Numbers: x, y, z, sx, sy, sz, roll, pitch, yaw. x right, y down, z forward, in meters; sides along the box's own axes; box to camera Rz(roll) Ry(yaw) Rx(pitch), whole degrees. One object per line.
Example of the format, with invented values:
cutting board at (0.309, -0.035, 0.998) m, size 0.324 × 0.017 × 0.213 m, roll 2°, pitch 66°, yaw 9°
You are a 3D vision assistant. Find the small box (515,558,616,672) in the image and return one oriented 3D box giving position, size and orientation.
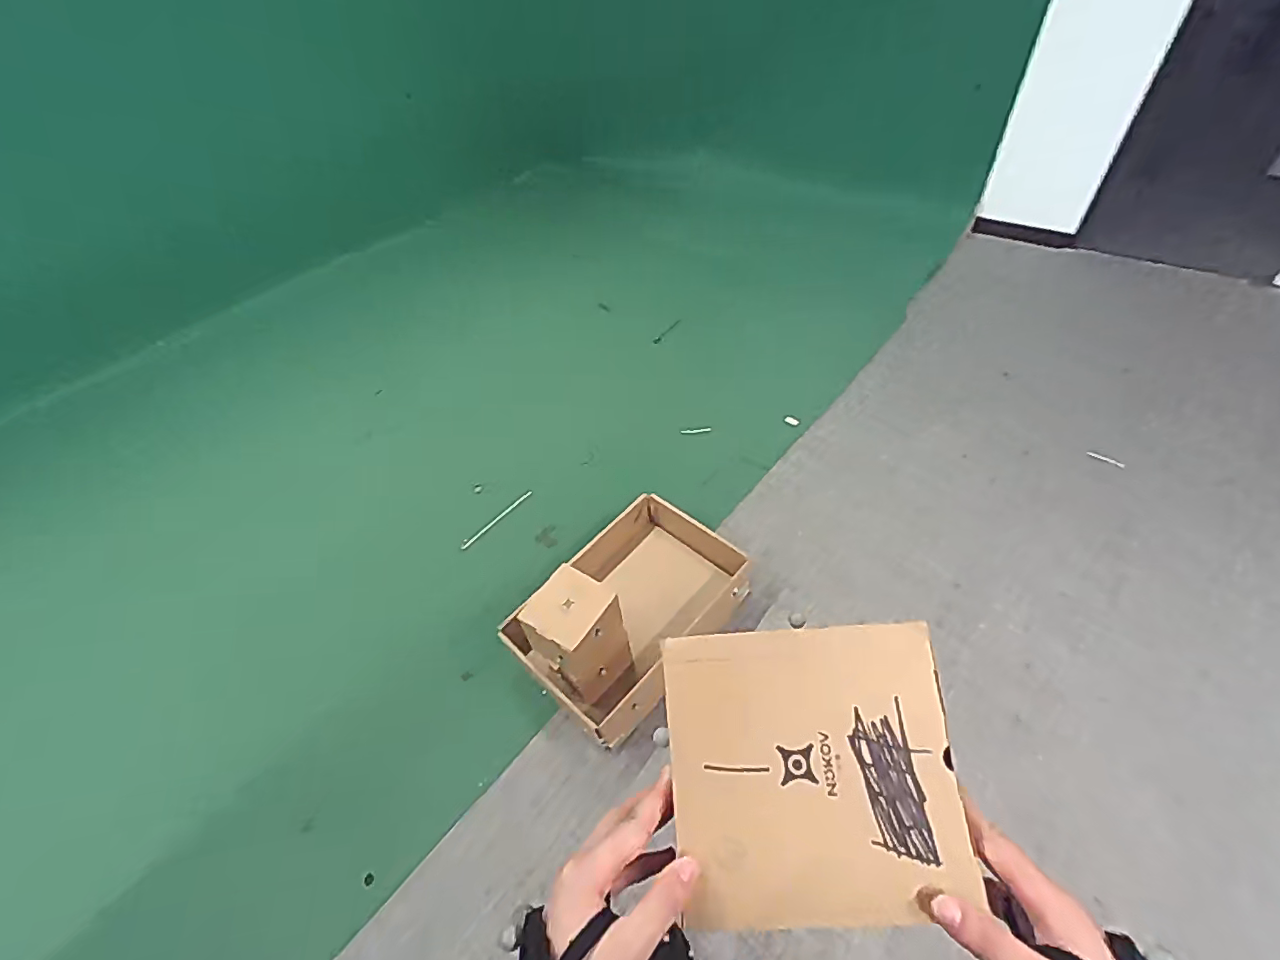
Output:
small box at (-0.169, 0.329, 1.302) m, size 0.168 × 0.176 × 0.179 m, roll 25°, pitch 54°, yaw 23°

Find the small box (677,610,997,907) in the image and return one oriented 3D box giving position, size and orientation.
small box at (0.119, 0.189, 0.409) m, size 0.179 × 0.176 × 0.168 m, roll -4°, pitch 72°, yaw 4°

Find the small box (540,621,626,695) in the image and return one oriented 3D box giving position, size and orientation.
small box at (-0.153, 0.433, 1.428) m, size 0.168 × 0.176 × 0.179 m, roll 34°, pitch 61°, yaw 29°
